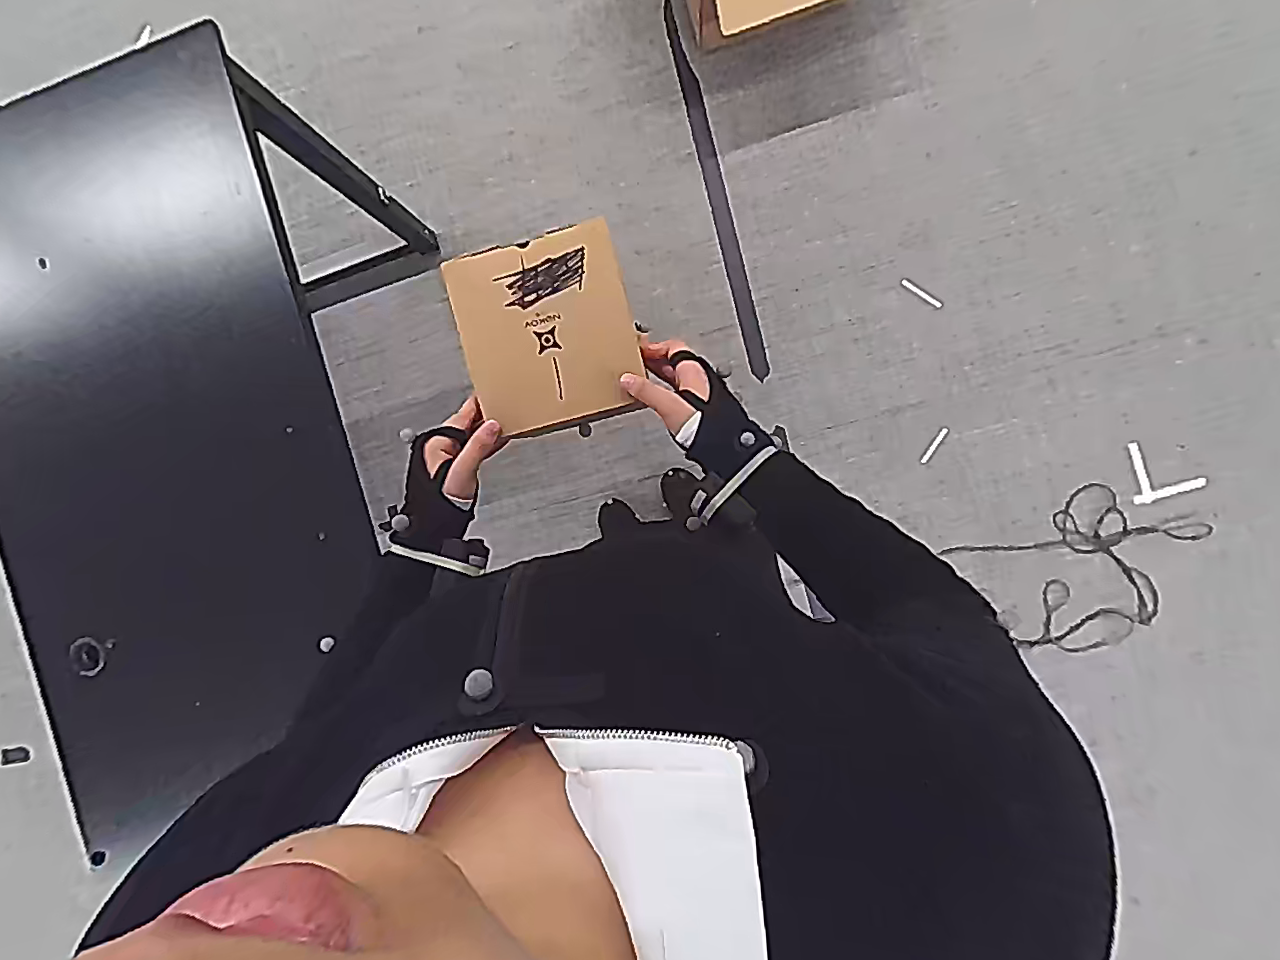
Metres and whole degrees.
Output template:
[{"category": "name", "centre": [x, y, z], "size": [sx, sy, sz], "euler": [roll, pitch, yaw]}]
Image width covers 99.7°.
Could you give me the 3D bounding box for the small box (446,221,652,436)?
[{"category": "small box", "centre": [-0.086, -0.151, 0.600], "size": [0.168, 0.176, 0.179], "euler": [-14, 95, 5]}]
